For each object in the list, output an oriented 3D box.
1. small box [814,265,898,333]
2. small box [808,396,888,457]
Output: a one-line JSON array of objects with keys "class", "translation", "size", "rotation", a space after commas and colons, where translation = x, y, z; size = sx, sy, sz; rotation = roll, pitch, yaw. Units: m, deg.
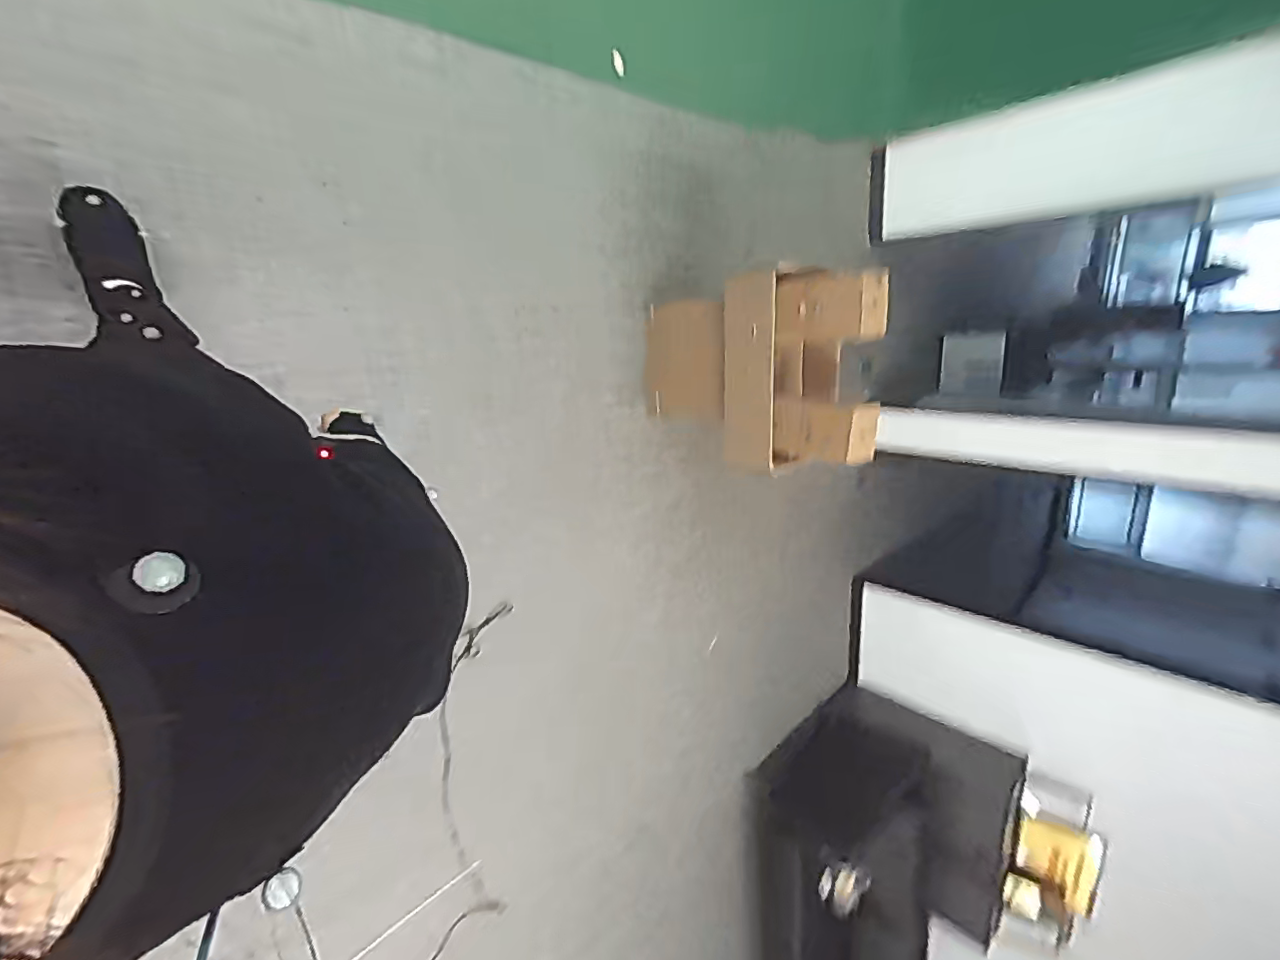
[{"class": "small box", "translation": [0.620, -0.522, 1.565], "size": [0.168, 0.176, 0.179], "rotation": [-19, 113, -39]}, {"class": "small box", "translation": [0.635, -0.170, 1.663], "size": [0.179, 0.176, 0.168], "rotation": [-10, 108, -42]}]
